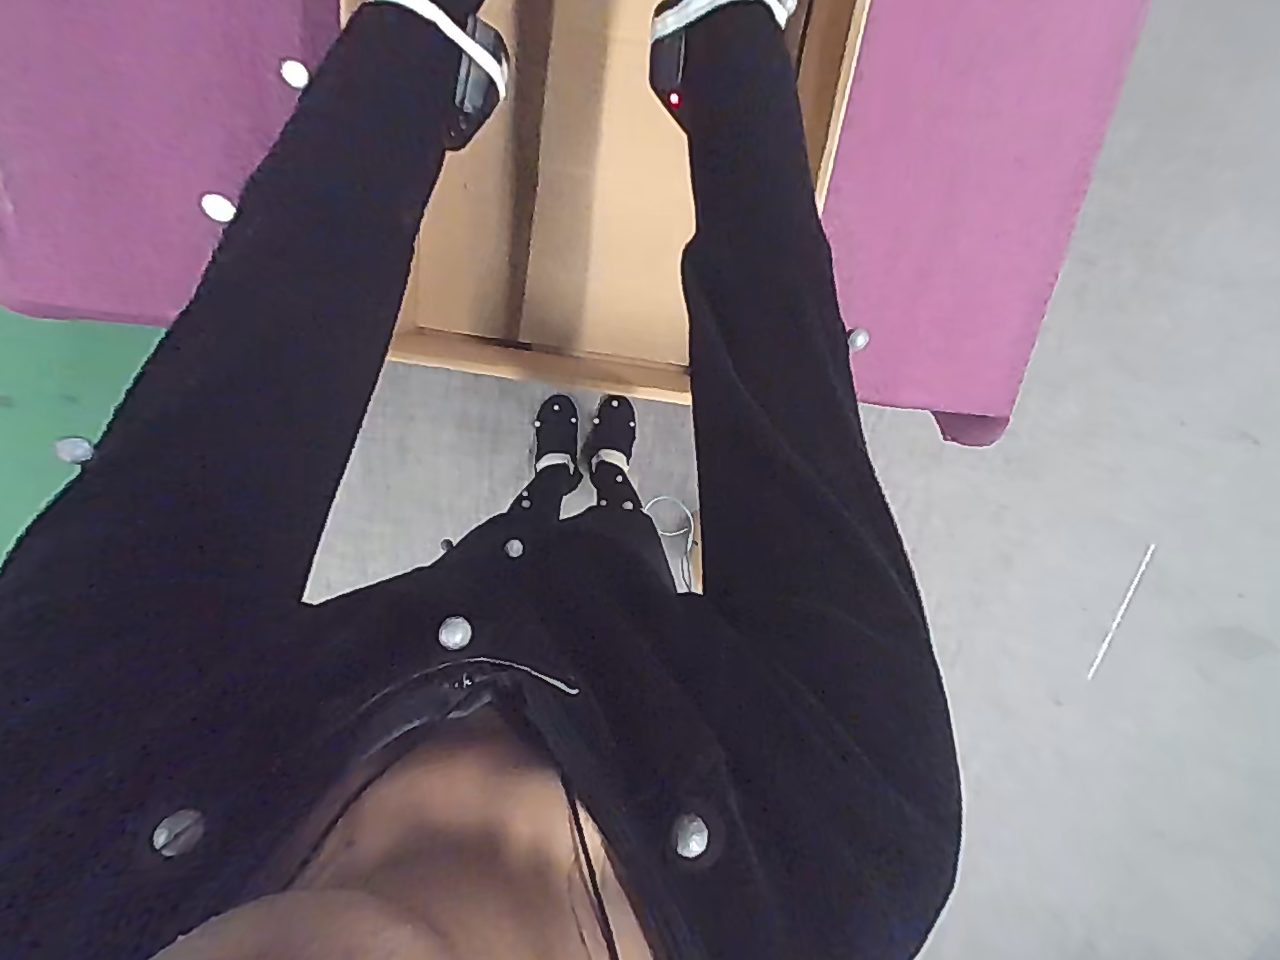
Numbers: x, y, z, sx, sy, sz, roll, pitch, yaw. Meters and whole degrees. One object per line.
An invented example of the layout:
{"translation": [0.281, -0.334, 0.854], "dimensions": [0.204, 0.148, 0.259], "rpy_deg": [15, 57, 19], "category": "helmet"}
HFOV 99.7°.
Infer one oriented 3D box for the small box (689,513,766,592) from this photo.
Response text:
{"translation": [0.232, 0.197, 1.490], "dimensions": [0.179, 0.176, 0.168], "rpy_deg": [2, 108, -3], "category": "small box"}
